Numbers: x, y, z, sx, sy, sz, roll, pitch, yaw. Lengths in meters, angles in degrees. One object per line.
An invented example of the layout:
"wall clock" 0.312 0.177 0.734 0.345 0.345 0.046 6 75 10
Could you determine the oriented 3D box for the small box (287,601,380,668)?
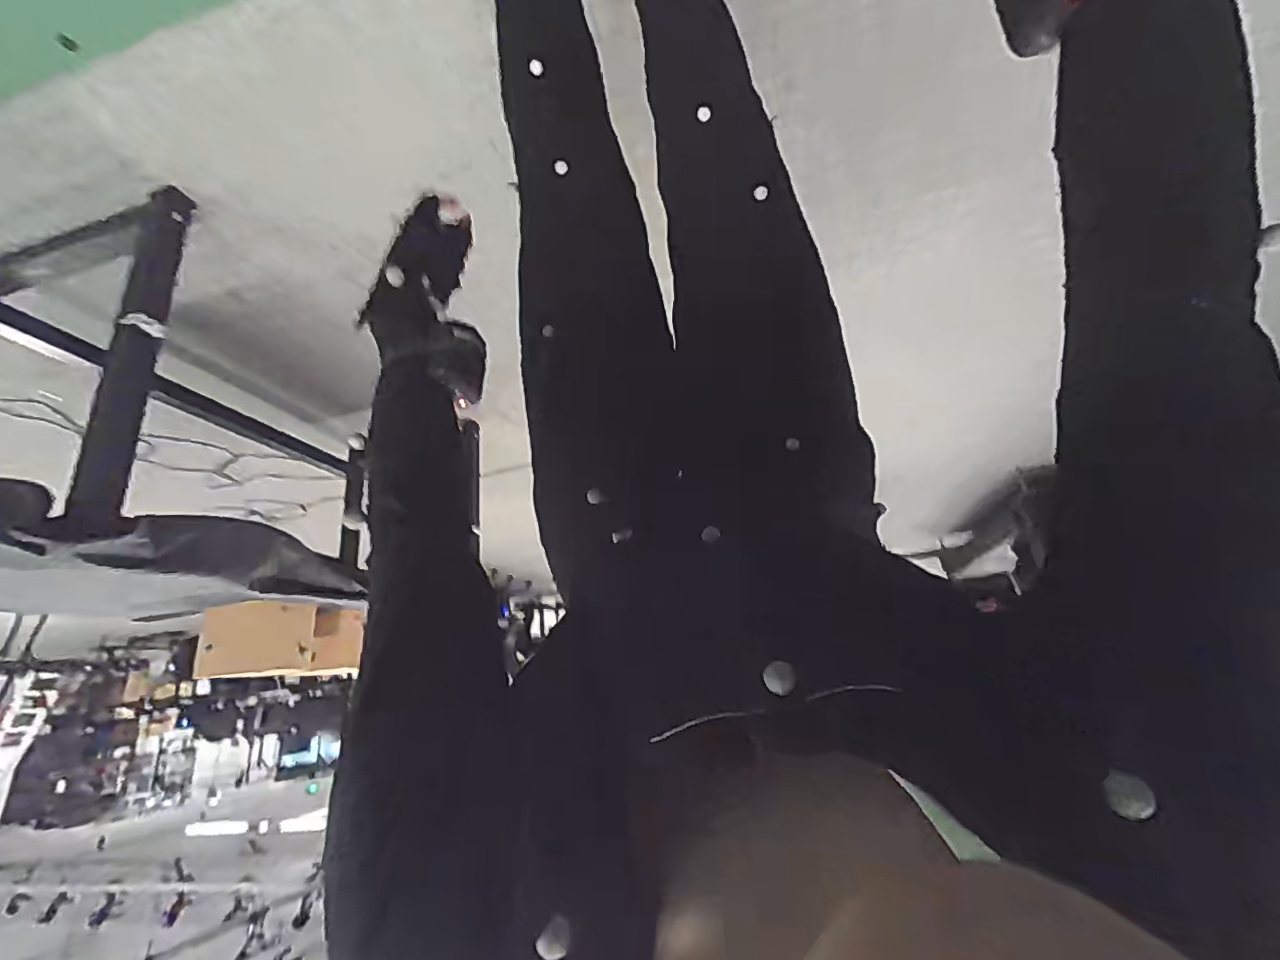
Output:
"small box" -0.887 0.456 1.583 0.179 0.176 0.168 -11 160 14
